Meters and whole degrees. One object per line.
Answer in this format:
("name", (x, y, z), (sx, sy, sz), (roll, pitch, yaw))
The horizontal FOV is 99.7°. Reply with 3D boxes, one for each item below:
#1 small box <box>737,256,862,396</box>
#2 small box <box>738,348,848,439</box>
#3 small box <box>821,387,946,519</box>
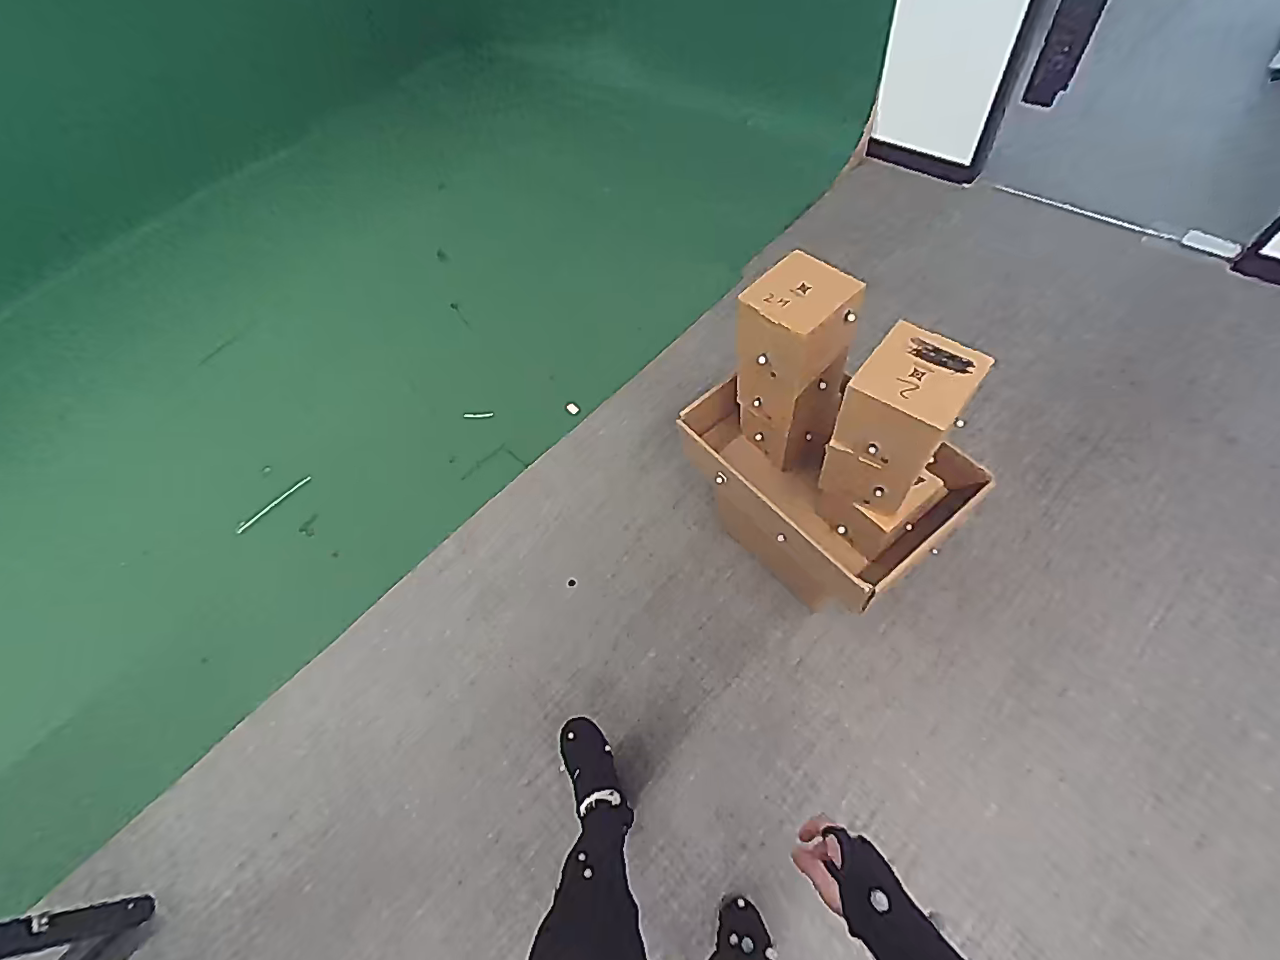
("small box", (0.310, -0.306, 1.087), (0.179, 0.176, 0.168), (-40, 61, -13))
("small box", (0.339, -0.229, 1.230), (0.179, 0.176, 0.168), (-40, 61, -13))
("small box", (0.481, -0.050, 1.095), (0.168, 0.176, 0.179), (27, 67, 23))
